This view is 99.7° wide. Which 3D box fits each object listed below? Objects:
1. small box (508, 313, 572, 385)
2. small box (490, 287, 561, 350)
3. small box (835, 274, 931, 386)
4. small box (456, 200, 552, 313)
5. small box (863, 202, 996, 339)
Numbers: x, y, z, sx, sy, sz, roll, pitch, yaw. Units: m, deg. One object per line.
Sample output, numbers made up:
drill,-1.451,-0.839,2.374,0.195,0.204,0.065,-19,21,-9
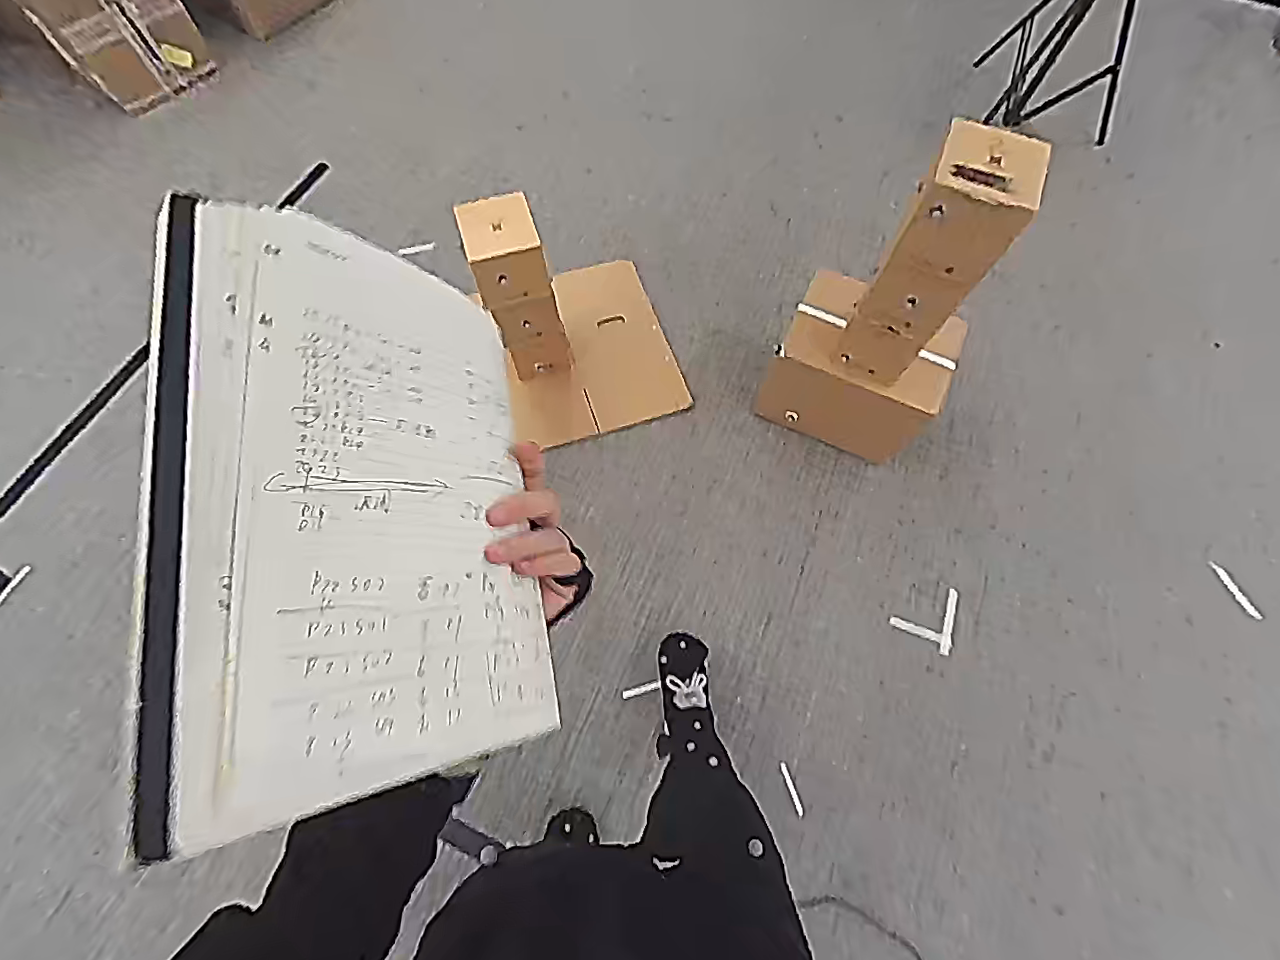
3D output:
small box,-0.309,-0.413,1.597,0.168,0.176,0.179,-21,70,-9
small box,-0.318,-0.469,1.441,0.168,0.176,0.179,-19,69,-9
small box,0.577,-0.351,1.259,0.168,0.176,0.179,27,69,10
small box,-0.318,-0.522,1.288,0.168,0.176,0.179,-18,68,-7
small box,0.583,-0.422,1.111,0.168,0.176,0.179,24,70,8
